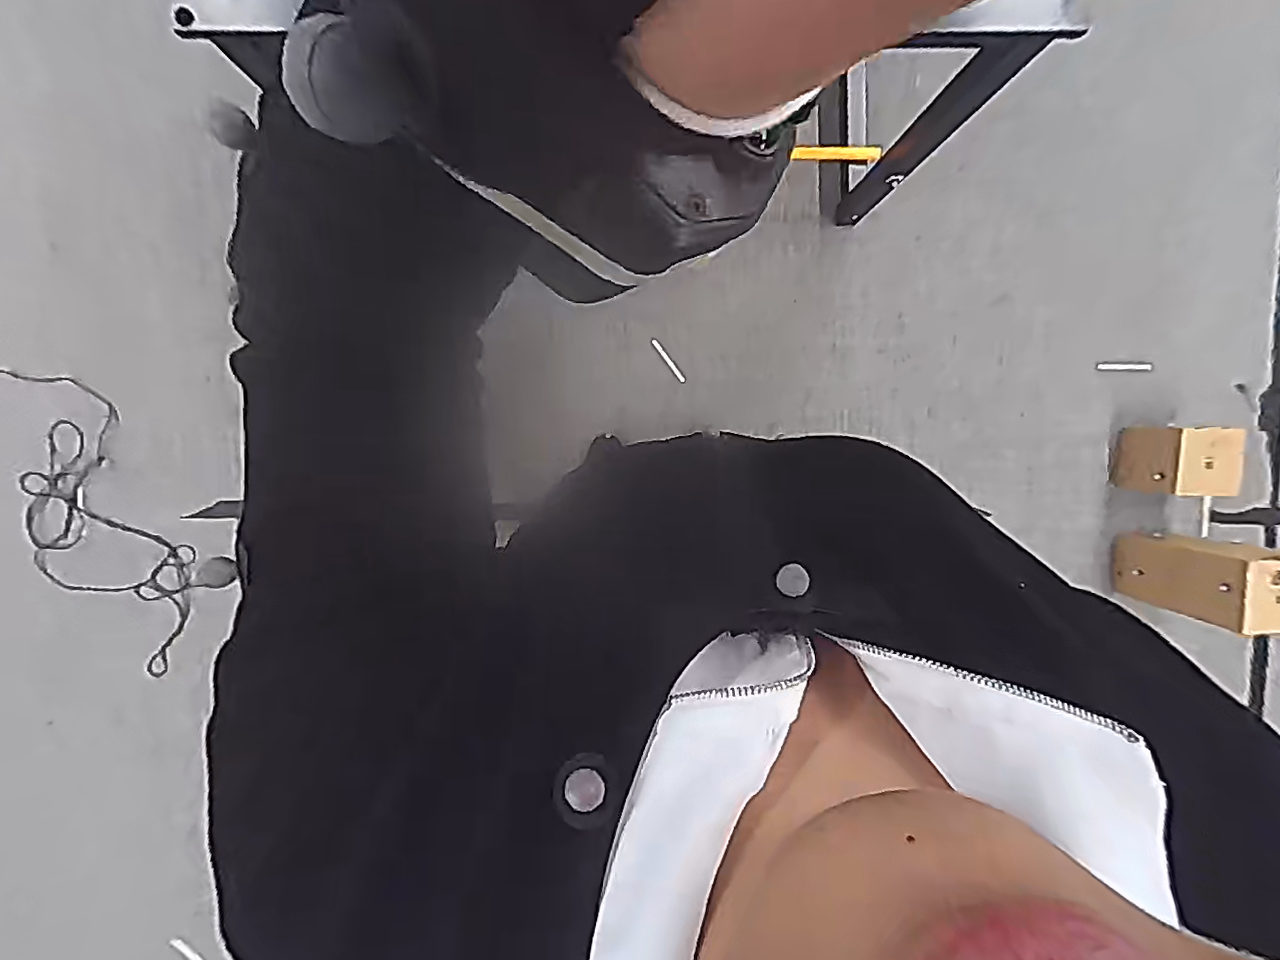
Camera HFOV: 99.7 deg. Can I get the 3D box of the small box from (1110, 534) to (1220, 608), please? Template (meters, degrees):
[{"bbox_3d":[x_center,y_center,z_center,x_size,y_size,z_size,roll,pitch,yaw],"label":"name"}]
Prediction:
[{"bbox_3d":[1.441,0.245,1.481,0.179,0.176,0.168,-3,95,0],"label":"small box"}]

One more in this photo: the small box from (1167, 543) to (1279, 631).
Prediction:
[{"bbox_3d":[1.442,0.252,1.315,0.168,0.176,0.179,-3,96,-1],"label":"small box"}]

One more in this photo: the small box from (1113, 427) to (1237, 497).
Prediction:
[{"bbox_3d":[1.426,-0.052,1.453,0.168,0.176,0.179,1,94,-2],"label":"small box"}]
